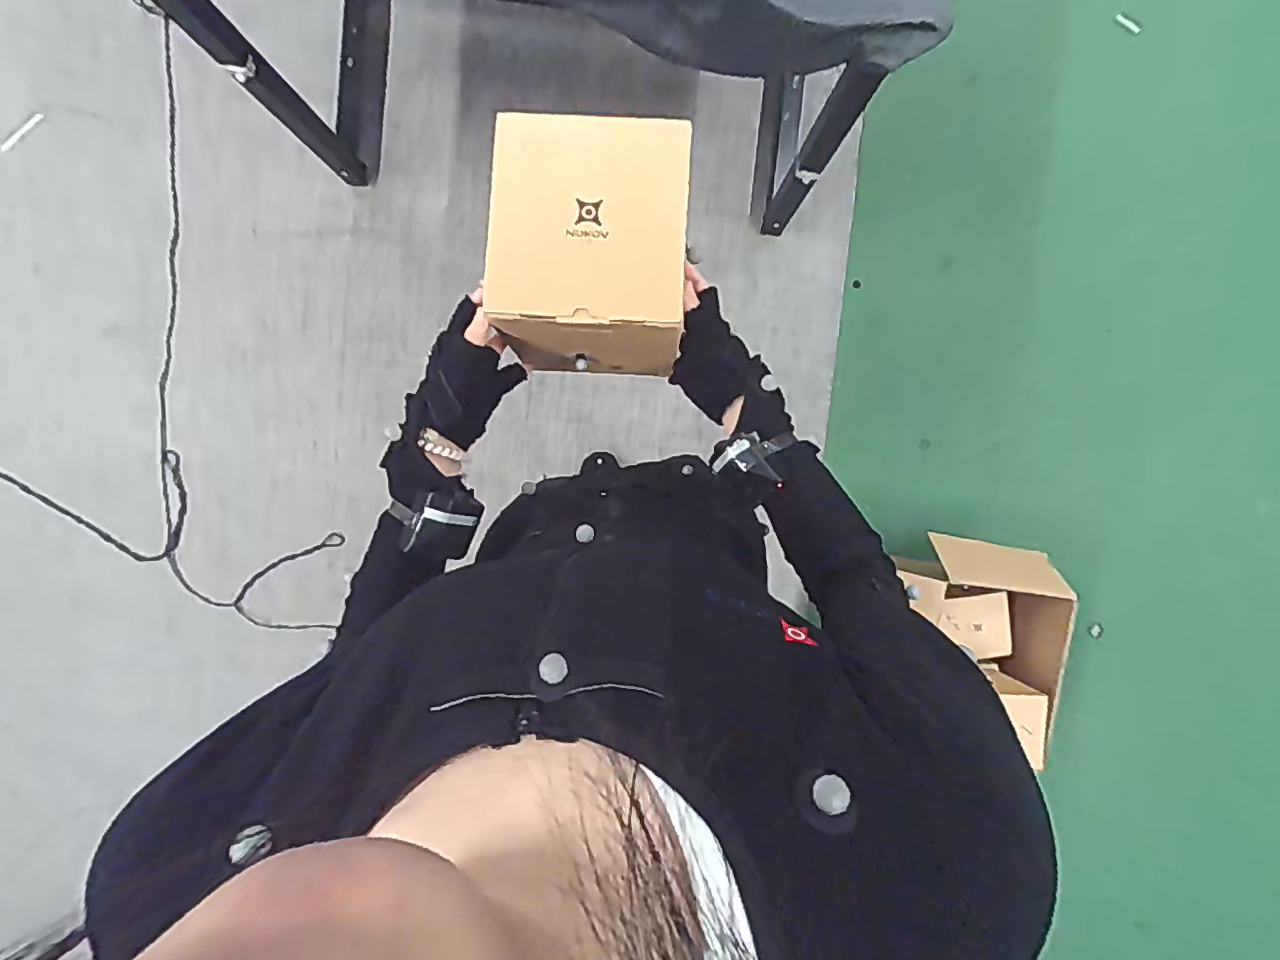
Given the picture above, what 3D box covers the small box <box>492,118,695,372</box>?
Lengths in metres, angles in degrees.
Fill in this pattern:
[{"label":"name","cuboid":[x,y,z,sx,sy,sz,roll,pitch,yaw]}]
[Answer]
[{"label":"small box","cuboid":[-0.039,-0.218,0.542,0.168,0.176,0.179,3,88,1]}]
